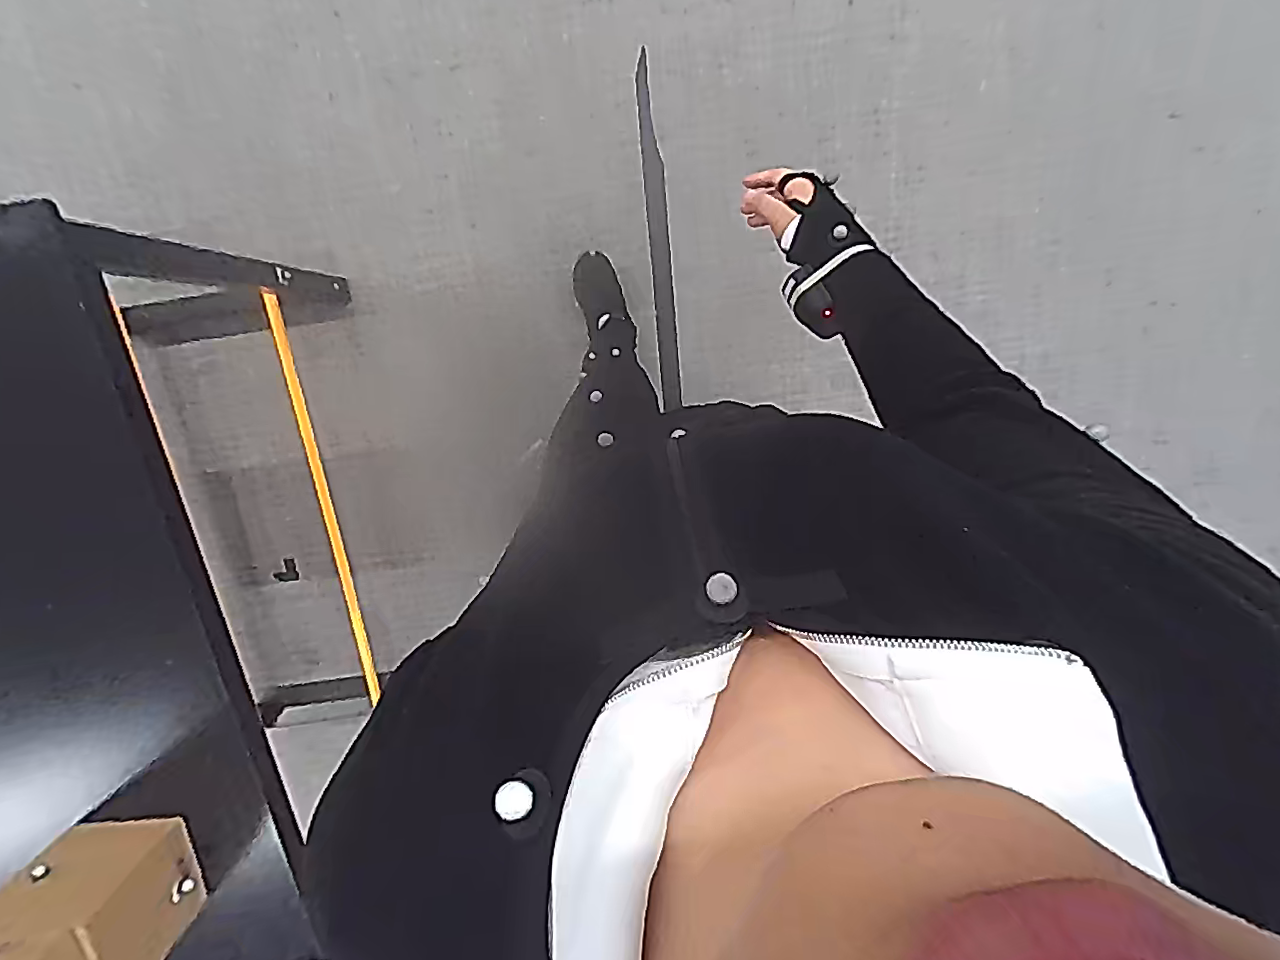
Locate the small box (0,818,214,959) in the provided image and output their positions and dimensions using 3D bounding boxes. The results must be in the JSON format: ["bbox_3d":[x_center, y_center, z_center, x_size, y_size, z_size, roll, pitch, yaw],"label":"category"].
[{"bbox_3d":[-0.786,0.633,0.791,0.179,0.176,0.168,-5,105,-1],"label":"small box"}]

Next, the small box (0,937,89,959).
[{"bbox_3d":[-0.789,0.679,0.632,0.168,0.176,0.179,-4,105,1],"label":"small box"}]
